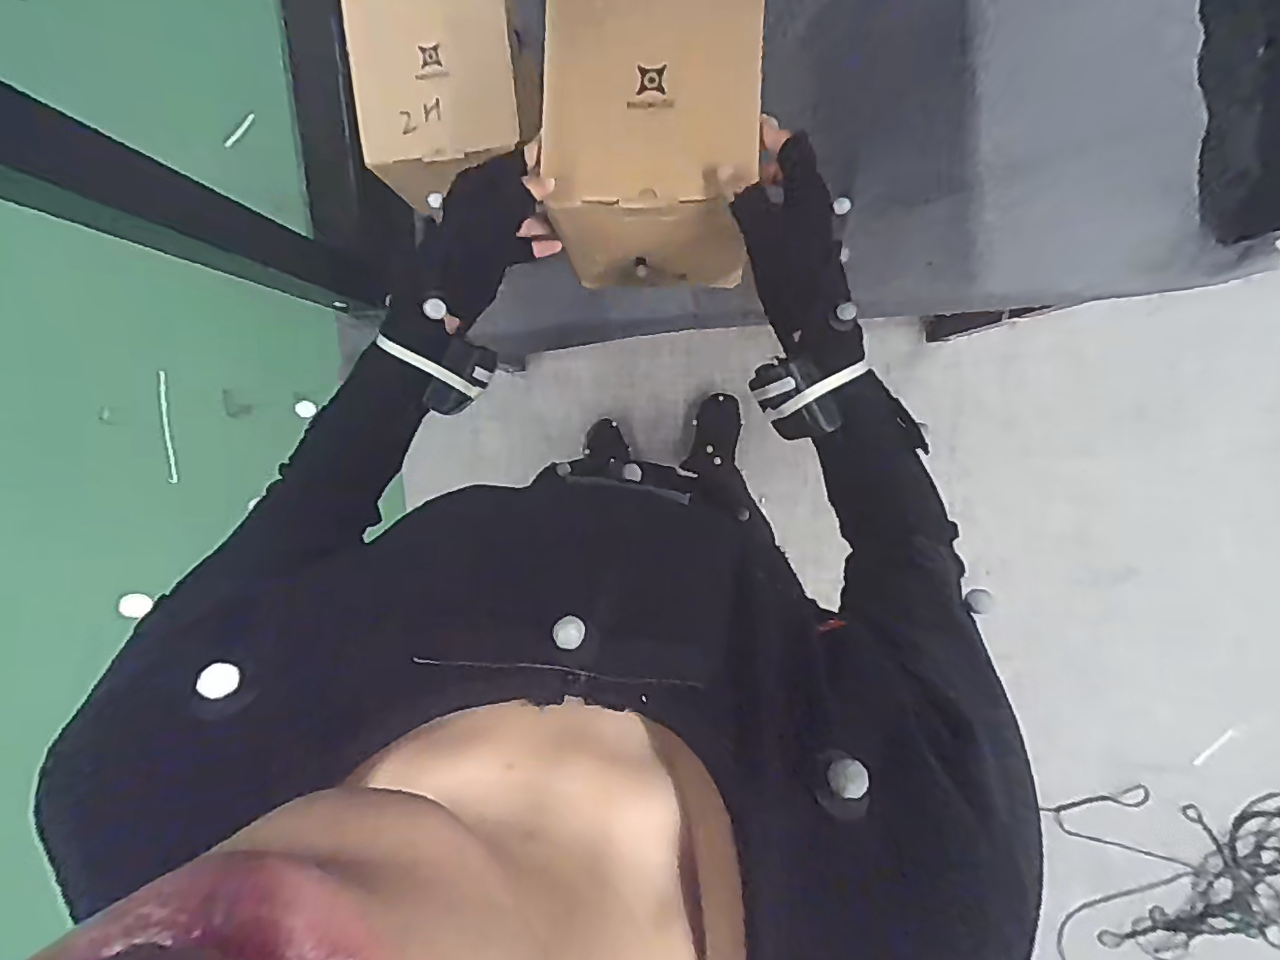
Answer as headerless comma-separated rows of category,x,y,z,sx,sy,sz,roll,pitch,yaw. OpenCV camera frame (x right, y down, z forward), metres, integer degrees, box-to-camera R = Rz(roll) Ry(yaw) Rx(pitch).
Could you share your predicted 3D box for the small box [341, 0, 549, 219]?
small box,-0.207,-0.427,0.617,0.168,0.176,0.179,-5,96,3
